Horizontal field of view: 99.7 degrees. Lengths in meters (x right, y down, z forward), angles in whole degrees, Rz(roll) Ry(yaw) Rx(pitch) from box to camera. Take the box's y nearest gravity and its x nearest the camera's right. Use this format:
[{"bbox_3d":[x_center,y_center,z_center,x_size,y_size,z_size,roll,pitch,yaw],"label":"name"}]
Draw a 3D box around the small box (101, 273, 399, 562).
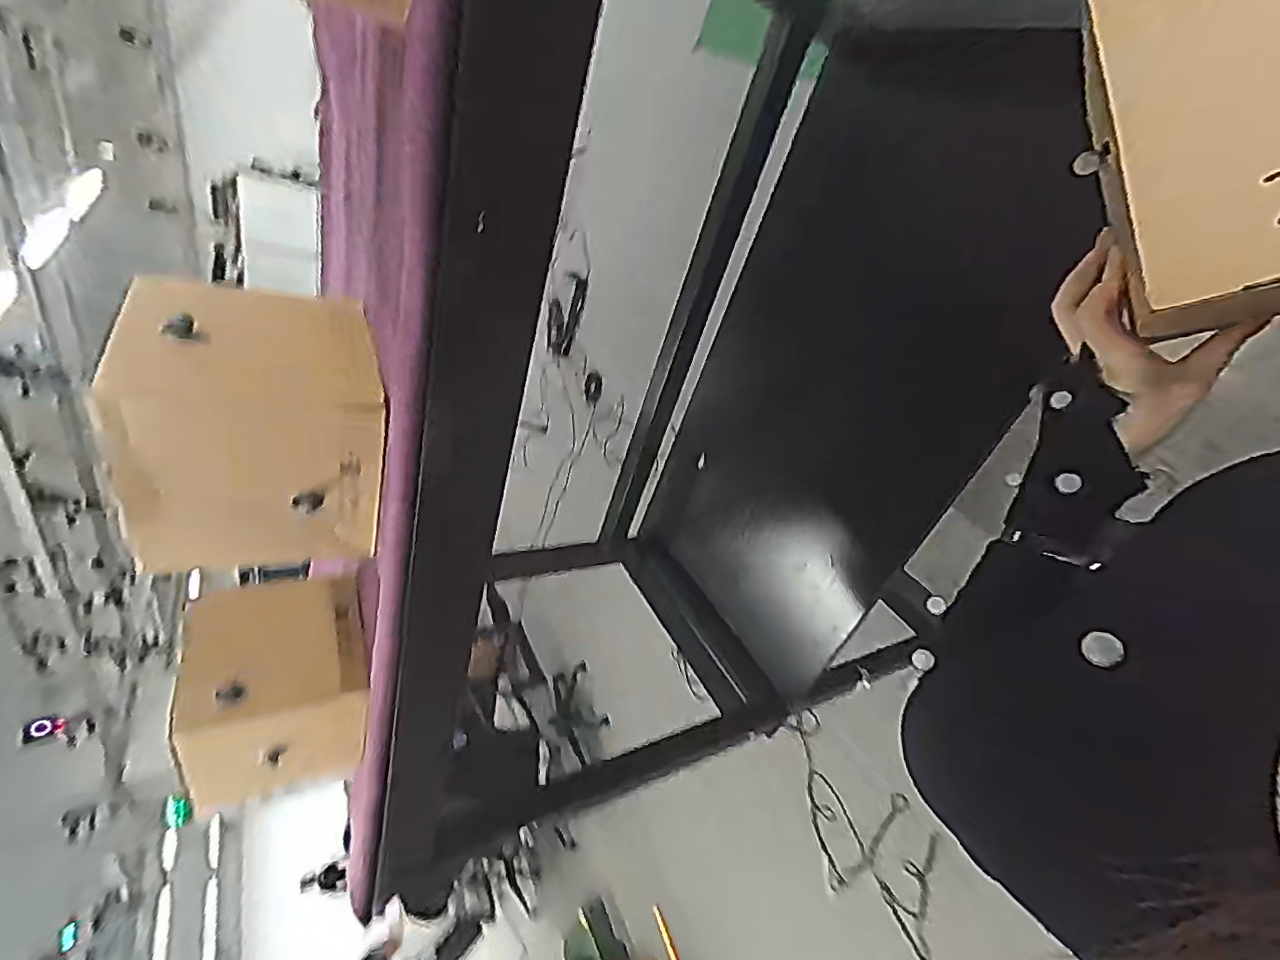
[{"bbox_3d":[-0.316,-0.052,0.466,0.179,0.176,0.168,56,136,39],"label":"small box"}]
